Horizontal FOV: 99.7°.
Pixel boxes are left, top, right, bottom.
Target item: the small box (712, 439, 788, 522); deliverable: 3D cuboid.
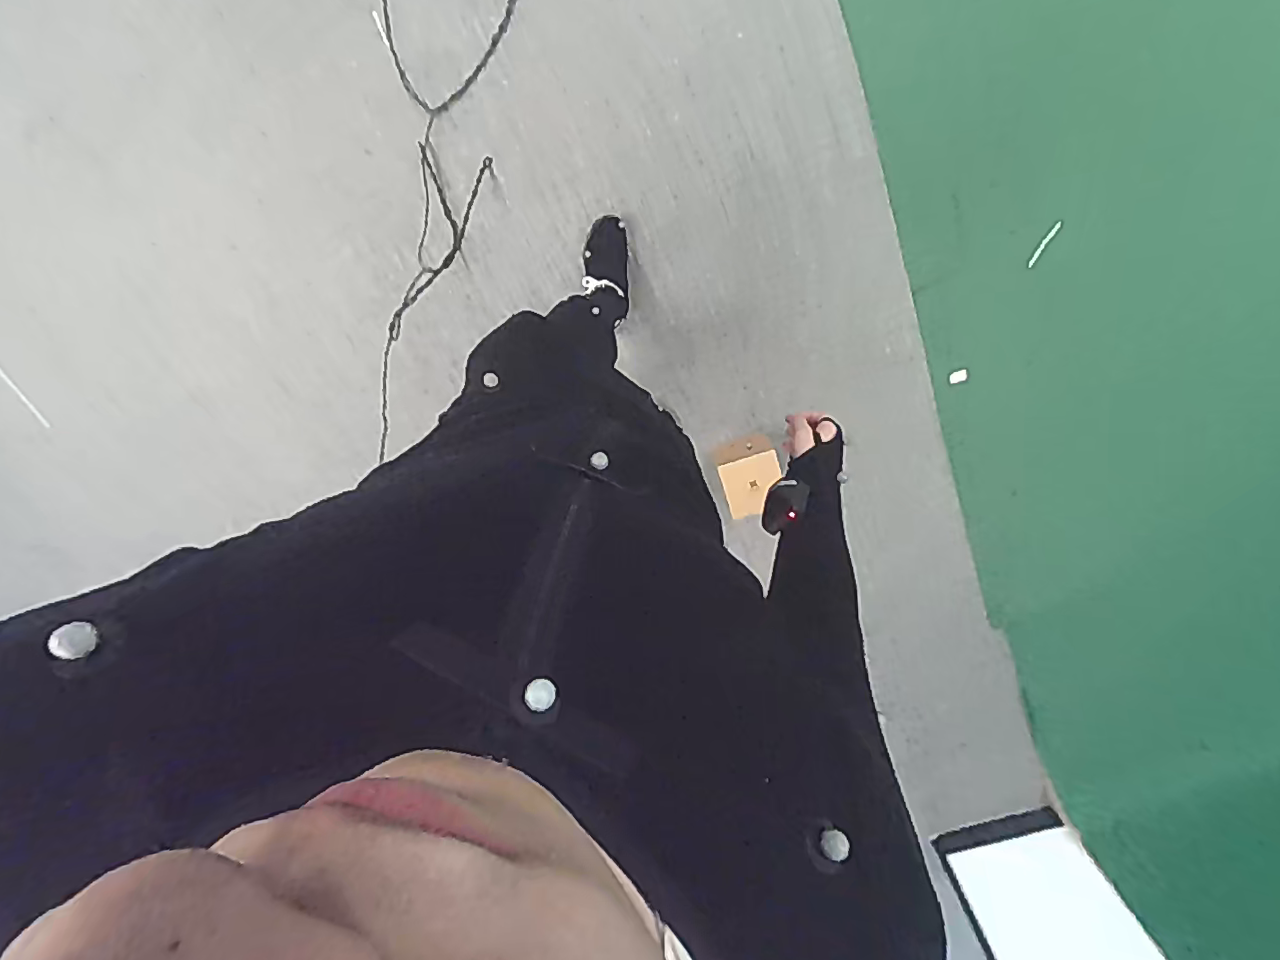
[{"bbox_3d":[0.315,-0.006,1.577,0.168,0.176,0.179,-17,111,9],"label":"small box"}]
